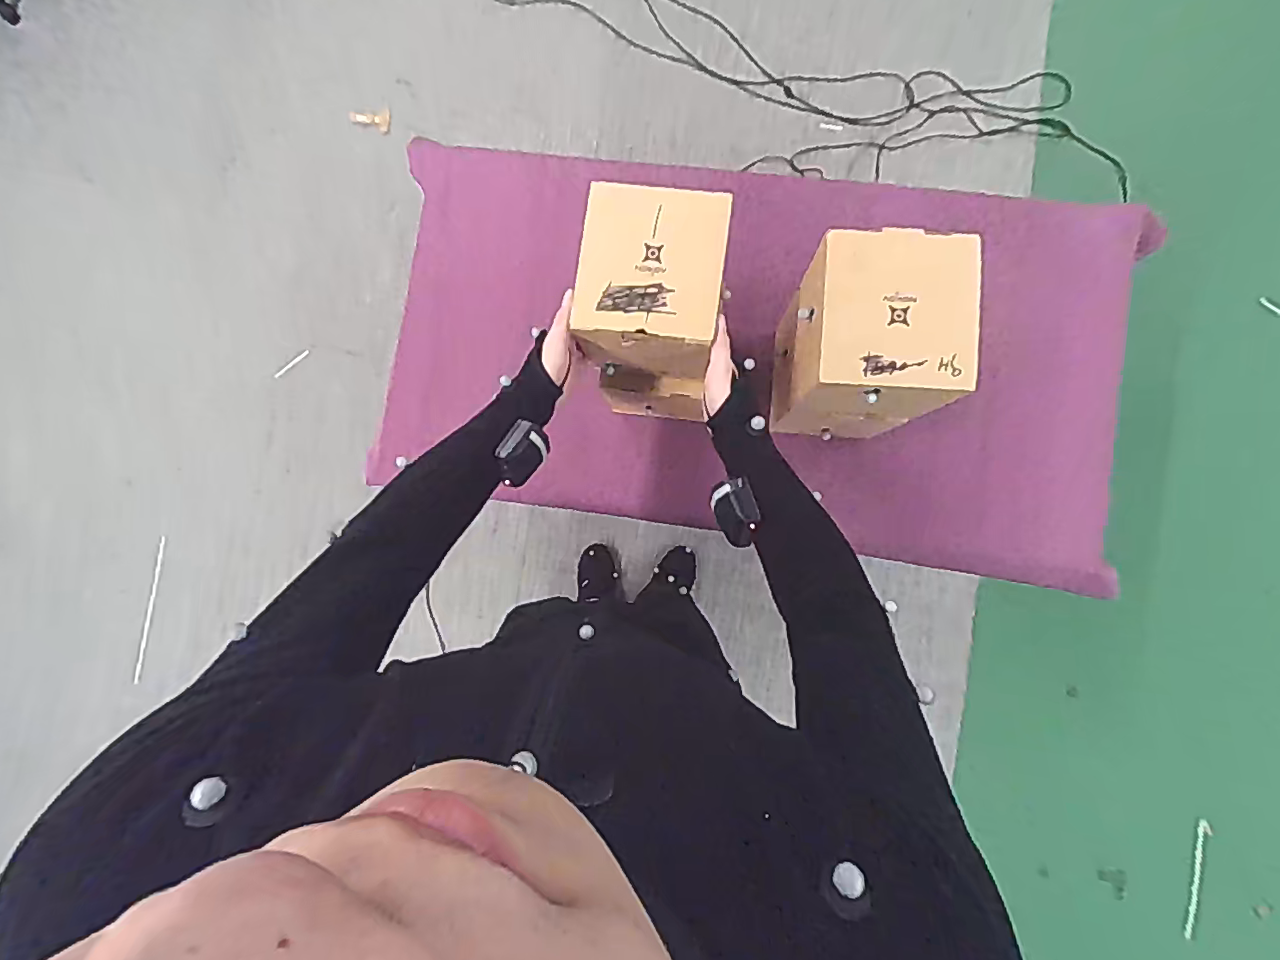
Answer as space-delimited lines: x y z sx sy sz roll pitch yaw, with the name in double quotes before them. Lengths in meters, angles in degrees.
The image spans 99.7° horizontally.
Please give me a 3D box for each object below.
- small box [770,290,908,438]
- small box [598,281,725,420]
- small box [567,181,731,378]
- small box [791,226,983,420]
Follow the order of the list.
"small box" 0.297 -0.168 0.822 0.168 0.176 0.179 5 87 5
"small box" 0.035 -0.201 0.846 0.168 0.176 0.179 6 87 4
"small box" 0.016 -0.237 0.681 0.168 0.176 0.179 7 86 4
"small box" 0.286 -0.180 0.659 0.168 0.176 0.179 4 85 5
